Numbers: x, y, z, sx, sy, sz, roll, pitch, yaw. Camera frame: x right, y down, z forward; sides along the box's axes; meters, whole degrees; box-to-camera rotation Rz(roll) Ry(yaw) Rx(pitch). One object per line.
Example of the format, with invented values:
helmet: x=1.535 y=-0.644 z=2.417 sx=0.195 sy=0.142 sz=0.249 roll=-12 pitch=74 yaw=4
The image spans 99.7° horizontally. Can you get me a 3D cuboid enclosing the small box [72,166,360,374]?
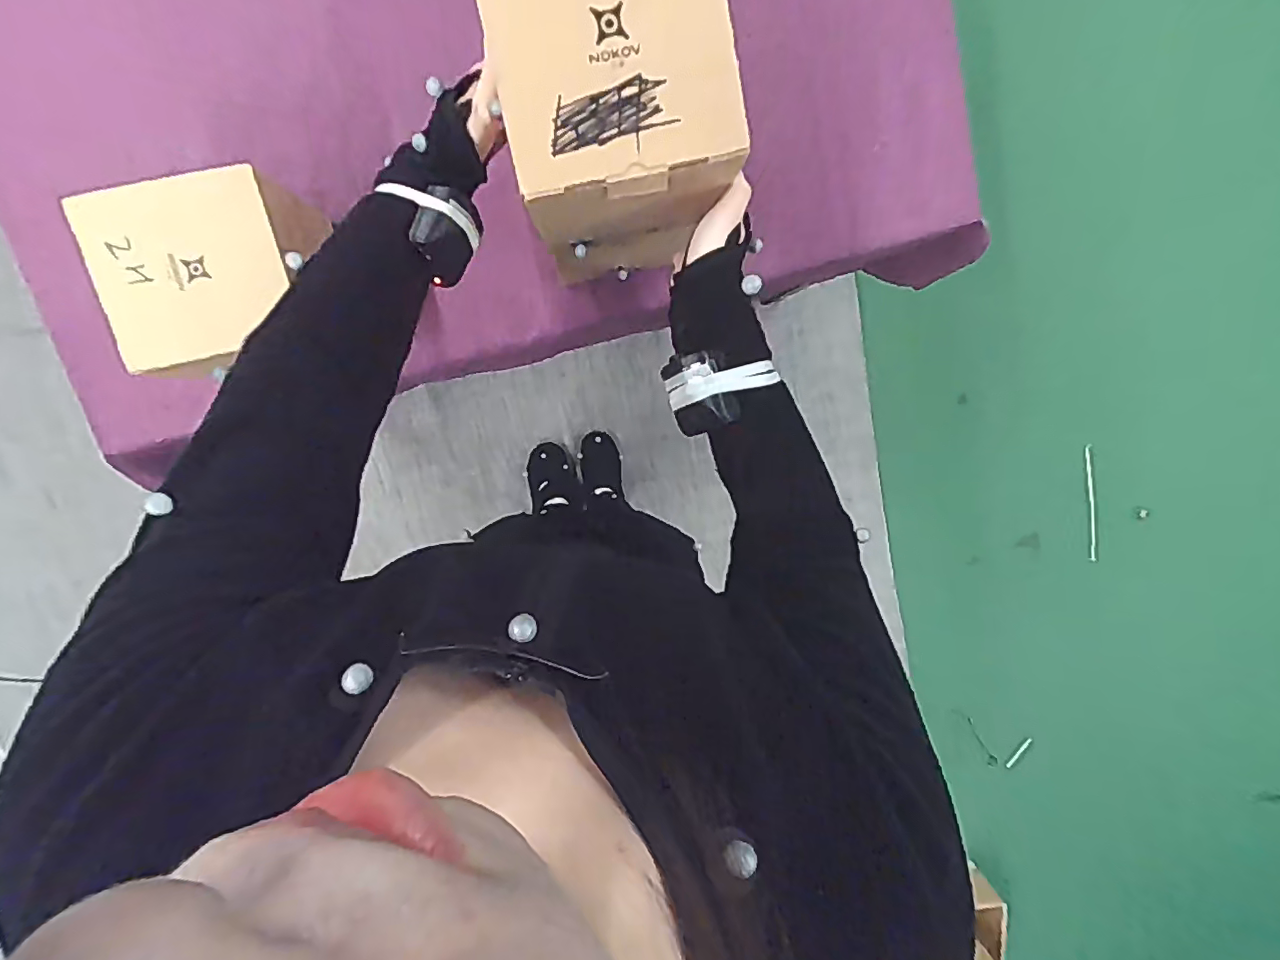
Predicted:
small box: x=-0.441 y=-0.218 z=0.605 sx=0.179 sy=0.176 sz=0.168 roll=-14 pitch=100 yaw=-3

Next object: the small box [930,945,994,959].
small box: x=0.946 y=1.471 z=1.533 sx=0.179 sy=0.176 sz=0.168 roll=6 pitch=99 yaw=-4
